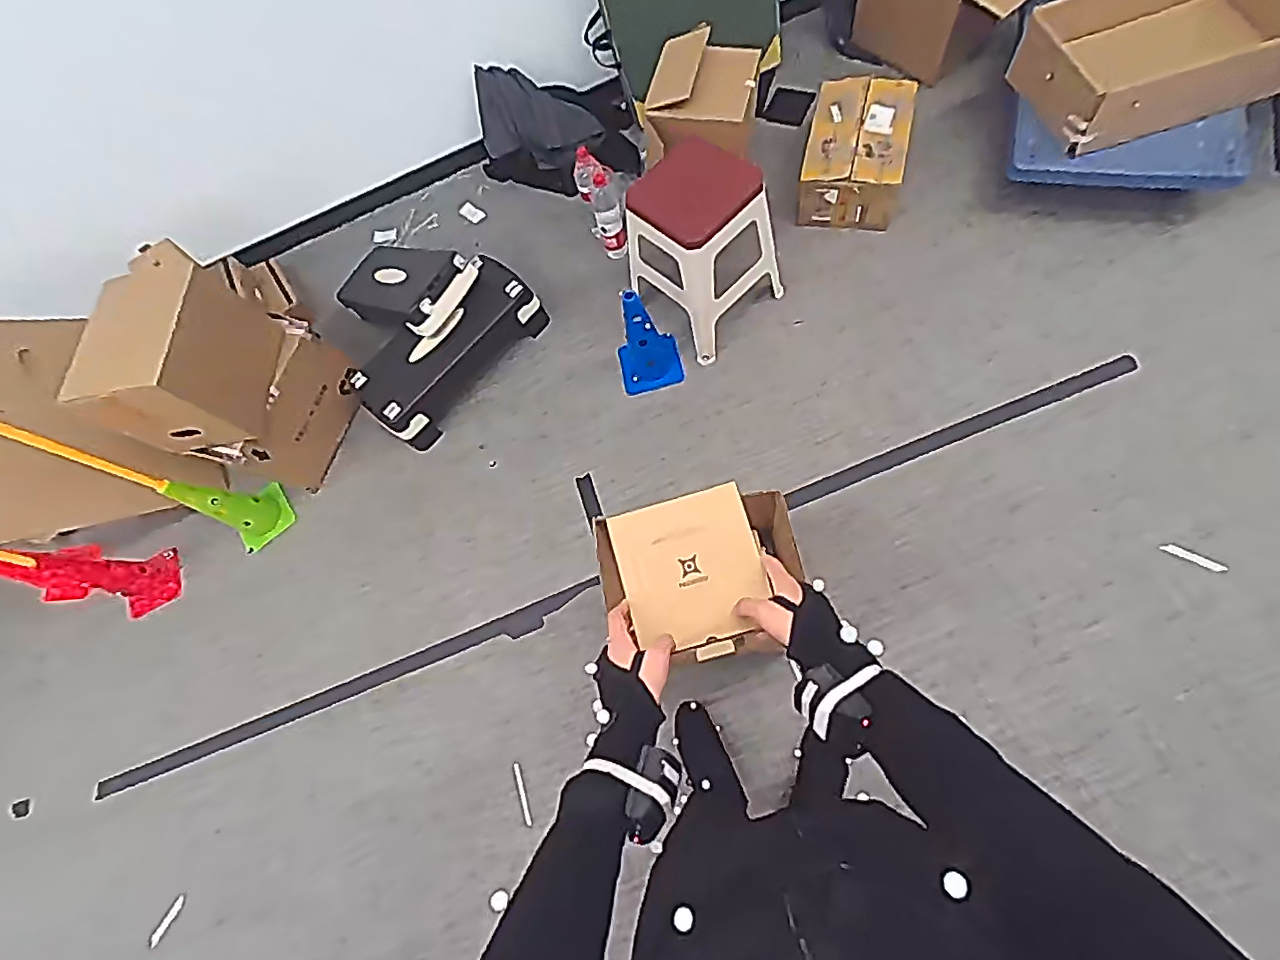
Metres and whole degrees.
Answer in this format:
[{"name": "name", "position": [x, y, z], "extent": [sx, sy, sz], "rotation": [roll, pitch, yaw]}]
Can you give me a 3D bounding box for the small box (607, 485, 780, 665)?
[{"name": "small box", "position": [0.066, 0.124, 0.700], "extent": [0.168, 0.176, 0.179], "rotation": [-16, 75, 1]}]
